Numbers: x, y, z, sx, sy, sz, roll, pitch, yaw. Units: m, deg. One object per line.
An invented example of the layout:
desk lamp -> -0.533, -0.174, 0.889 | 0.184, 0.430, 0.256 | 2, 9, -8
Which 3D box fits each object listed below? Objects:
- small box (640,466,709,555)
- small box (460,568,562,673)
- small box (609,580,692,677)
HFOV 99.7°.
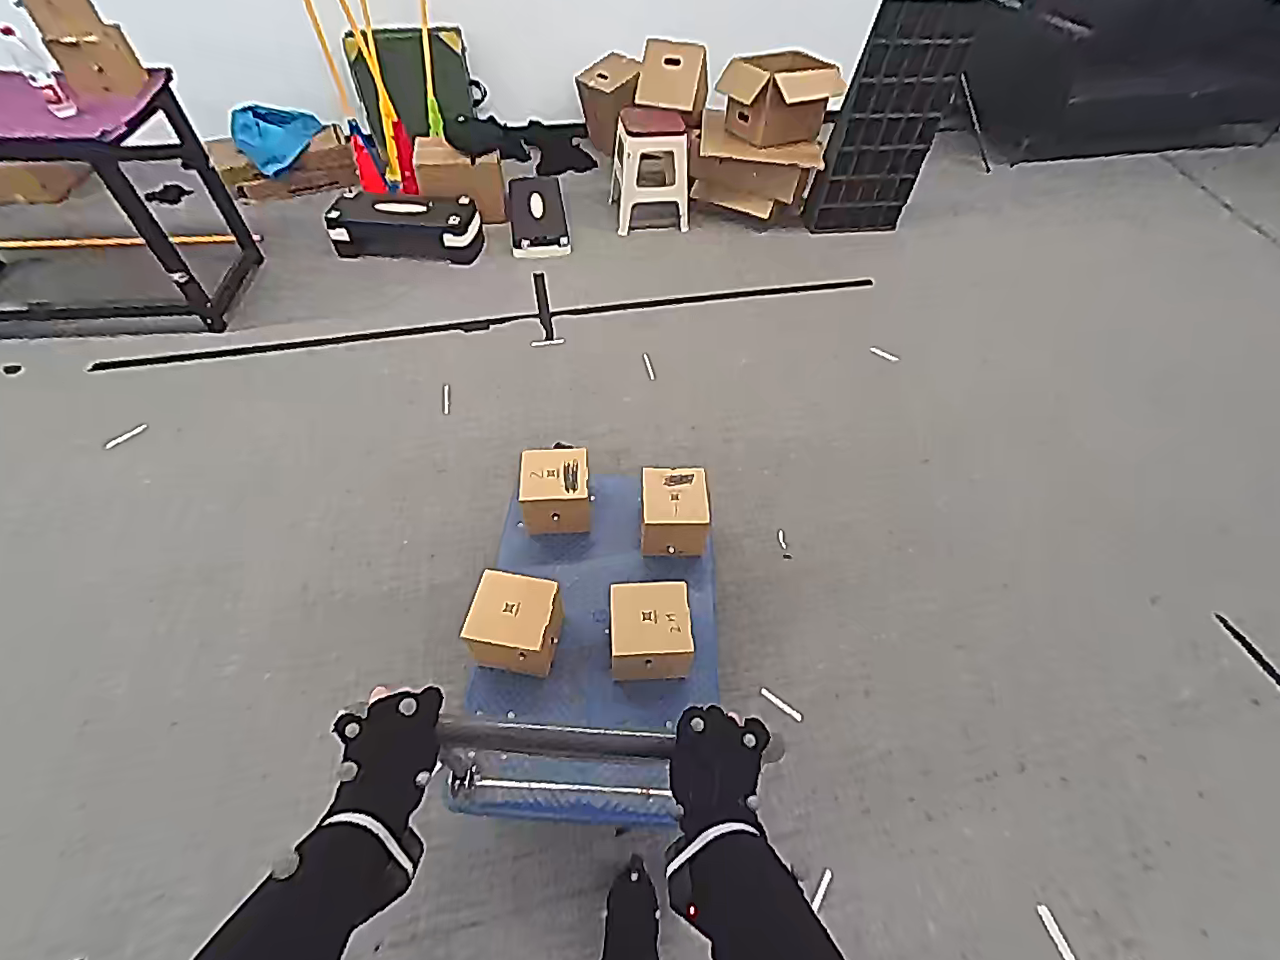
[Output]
small box -> 0.086, 0.083, 1.442 | 0.168, 0.176, 0.179 | 0, 54, -2
small box -> -0.286, 0.326, 1.240 | 0.179, 0.176, 0.168 | 10, 52, 3
small box -> 0.019, 0.344, 1.240 | 0.179, 0.176, 0.168 | -1, 53, -3
